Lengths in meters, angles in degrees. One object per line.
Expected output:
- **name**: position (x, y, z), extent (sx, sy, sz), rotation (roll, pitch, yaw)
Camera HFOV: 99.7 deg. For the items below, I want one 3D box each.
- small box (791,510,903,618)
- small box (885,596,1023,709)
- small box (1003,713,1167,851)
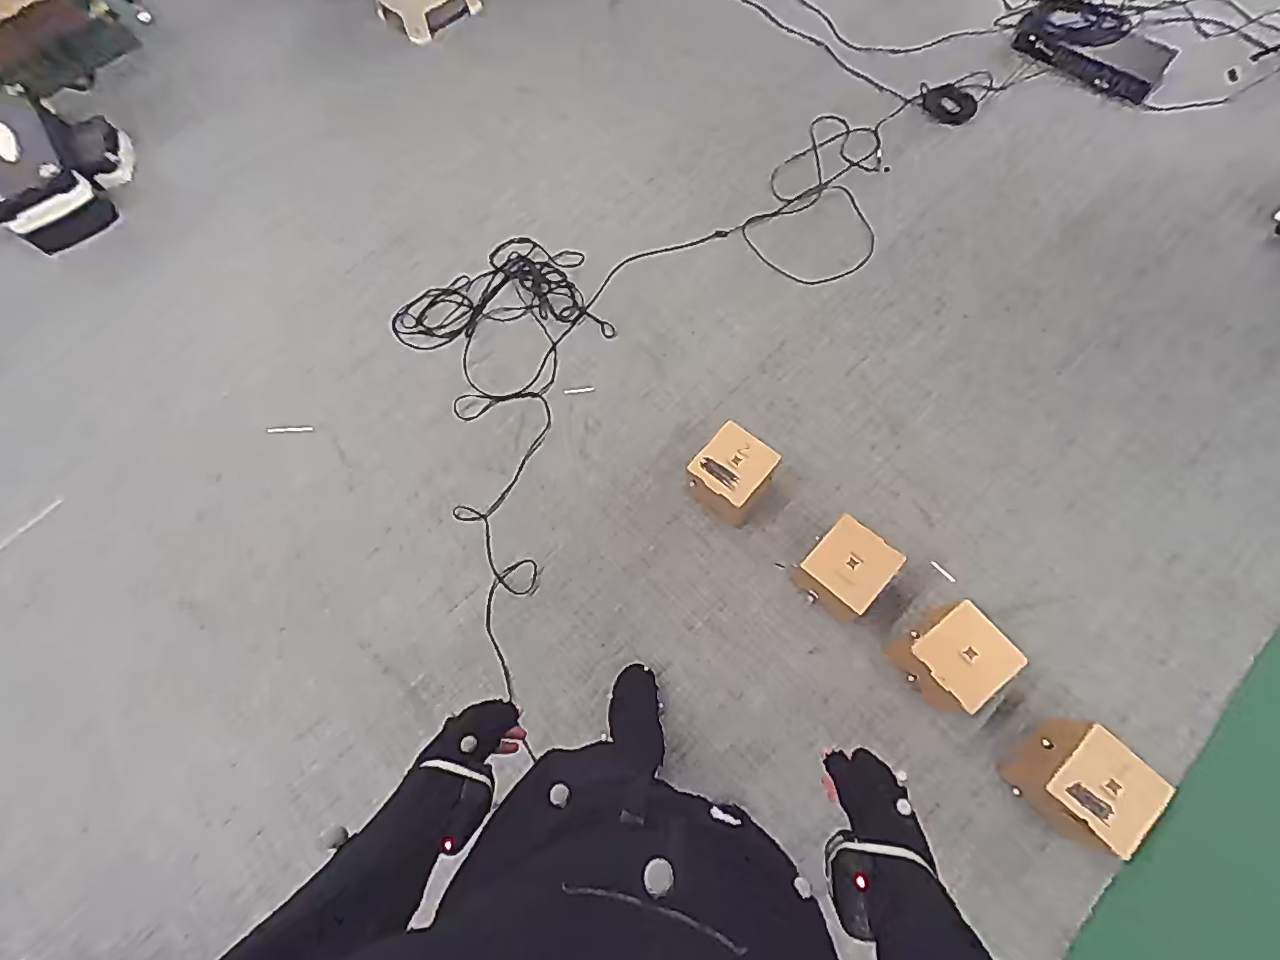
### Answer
- **small box**: position (0.483, 0.206, 1.294), extent (0.168, 0.176, 0.179), rotation (40, 79, 19)
- **small box**: position (0.689, 0.385, 1.212), extent (0.179, 0.176, 0.168), rotation (-37, 71, -9)
- **small box**: position (0.896, 0.607, 1.113), extent (0.179, 0.176, 0.168), rotation (-41, 72, -12)
